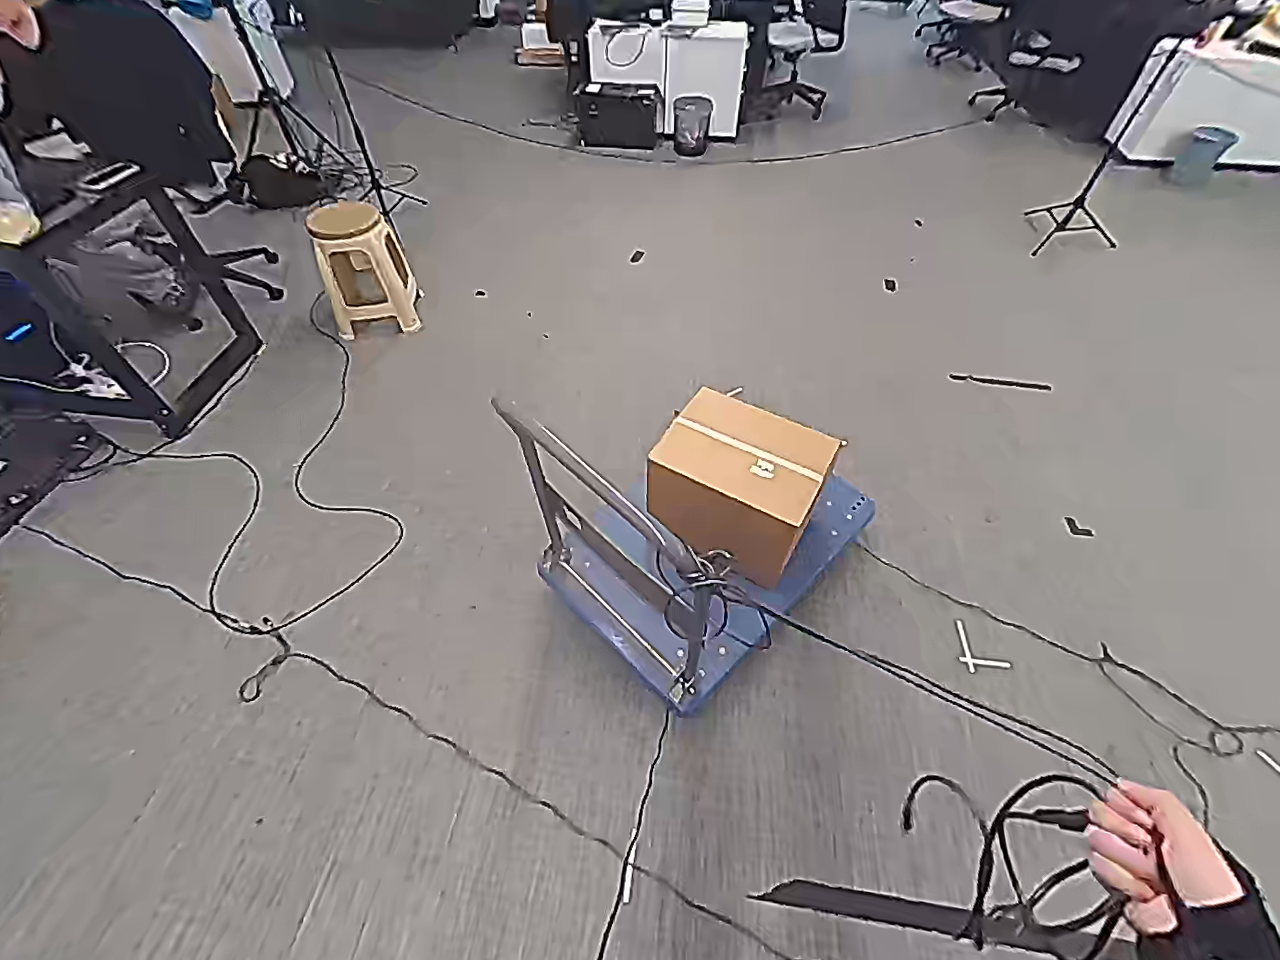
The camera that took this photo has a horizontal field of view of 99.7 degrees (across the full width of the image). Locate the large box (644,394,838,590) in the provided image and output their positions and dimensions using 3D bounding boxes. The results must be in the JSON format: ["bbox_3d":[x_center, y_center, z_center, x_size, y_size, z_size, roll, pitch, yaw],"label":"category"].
[{"bbox_3d":[0.258,0.029,1.475,0.408,0.320,0.320,25,56,18],"label":"large box"}]
